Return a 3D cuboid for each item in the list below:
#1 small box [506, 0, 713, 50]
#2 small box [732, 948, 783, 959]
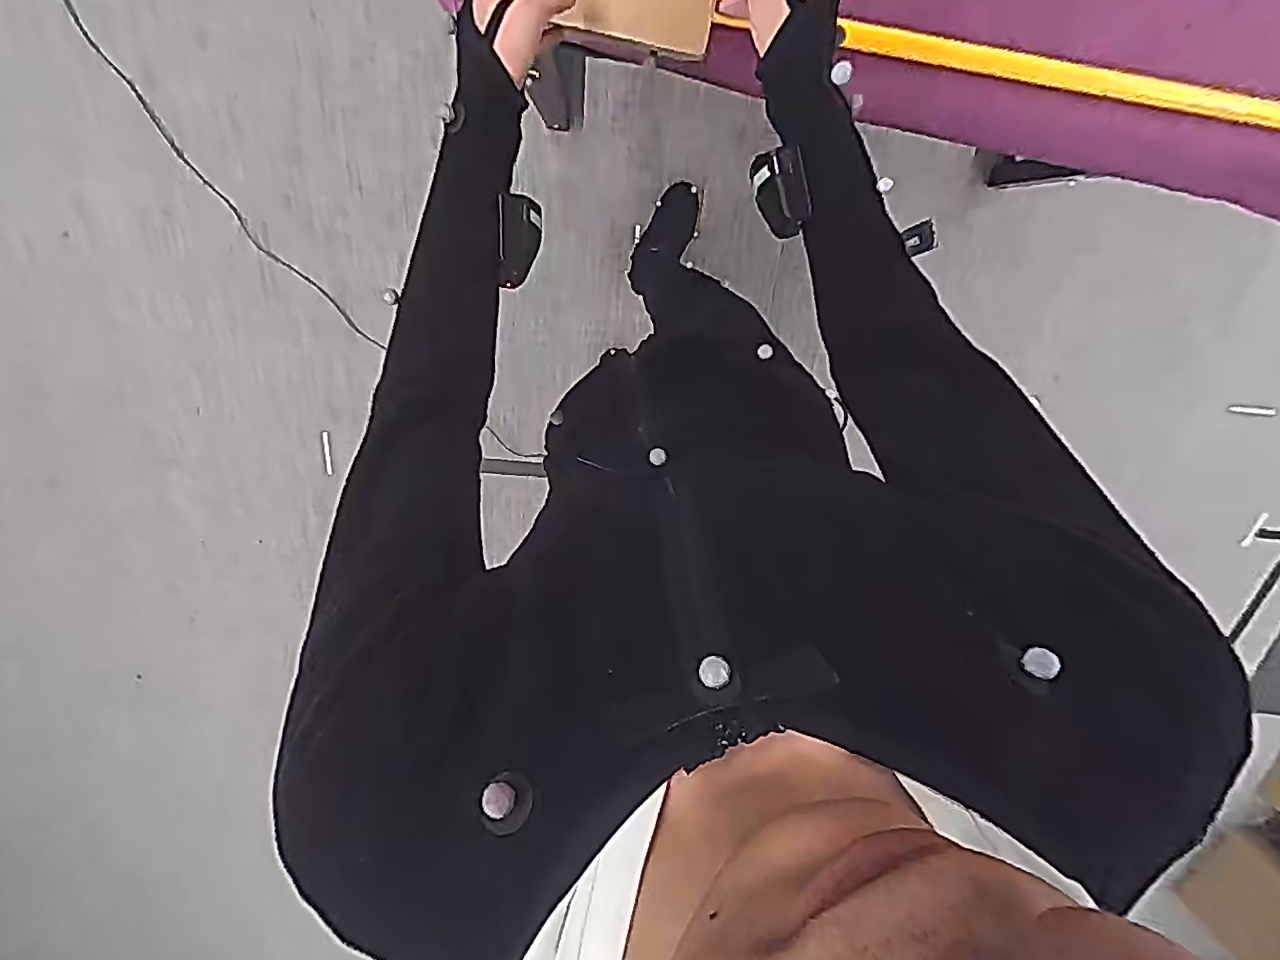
[{"bbox_3d":[-0.020,-0.503,0.479,0.179,0.176,0.168,6,126,-9],"label":"small box"},{"bbox_3d":[0.388,1.678,1.770,0.168,0.176,0.179,19,114,-11],"label":"small box"}]
